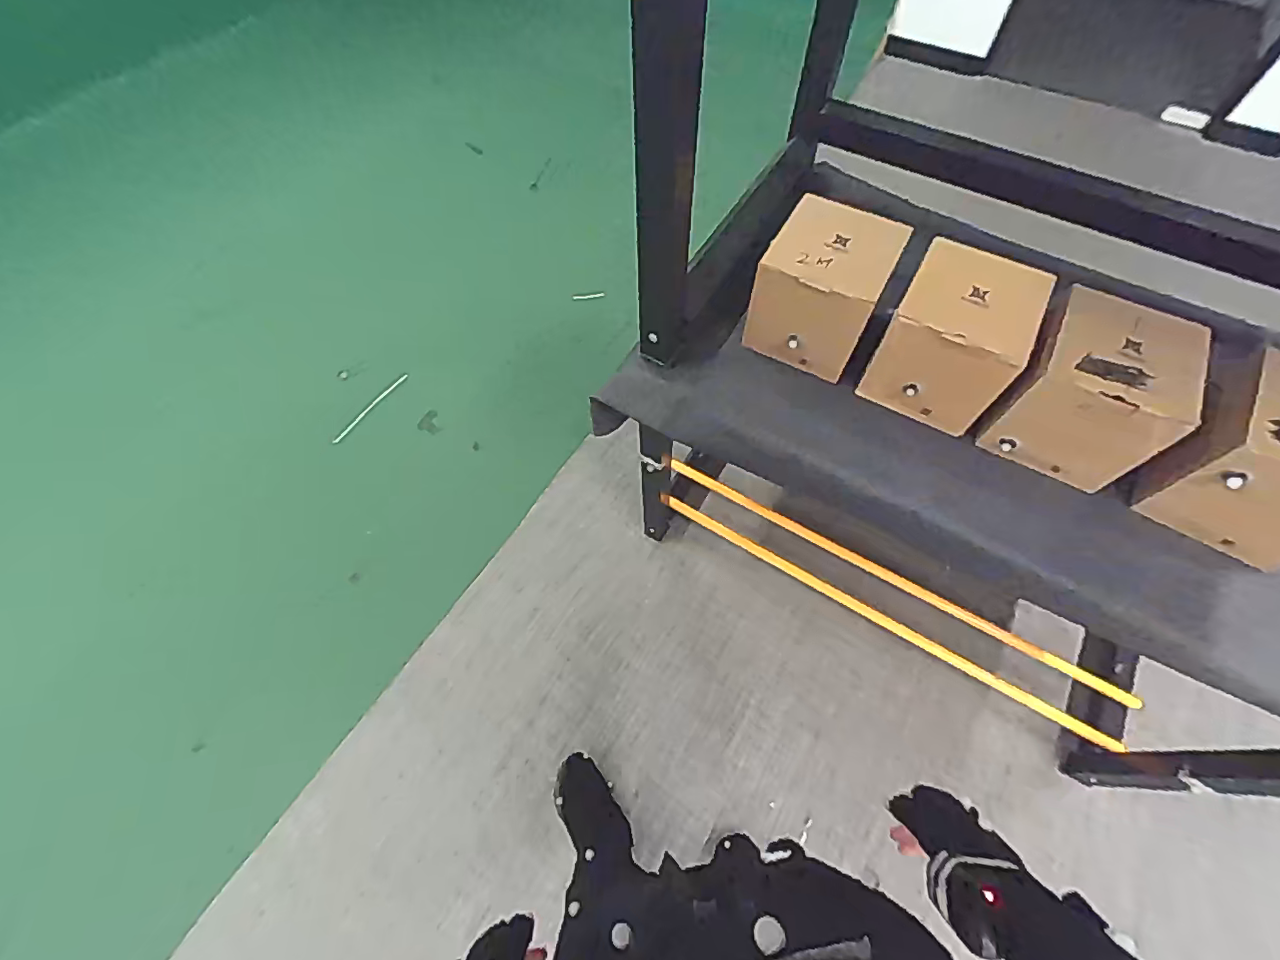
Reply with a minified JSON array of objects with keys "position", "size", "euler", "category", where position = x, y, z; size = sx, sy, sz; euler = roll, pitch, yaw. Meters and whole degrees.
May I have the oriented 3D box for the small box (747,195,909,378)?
[{"position":[0.280,-0.296,0.841],"size":[0.168,0.176,0.179],"euler":[27,67,14],"category":"small box"}]
